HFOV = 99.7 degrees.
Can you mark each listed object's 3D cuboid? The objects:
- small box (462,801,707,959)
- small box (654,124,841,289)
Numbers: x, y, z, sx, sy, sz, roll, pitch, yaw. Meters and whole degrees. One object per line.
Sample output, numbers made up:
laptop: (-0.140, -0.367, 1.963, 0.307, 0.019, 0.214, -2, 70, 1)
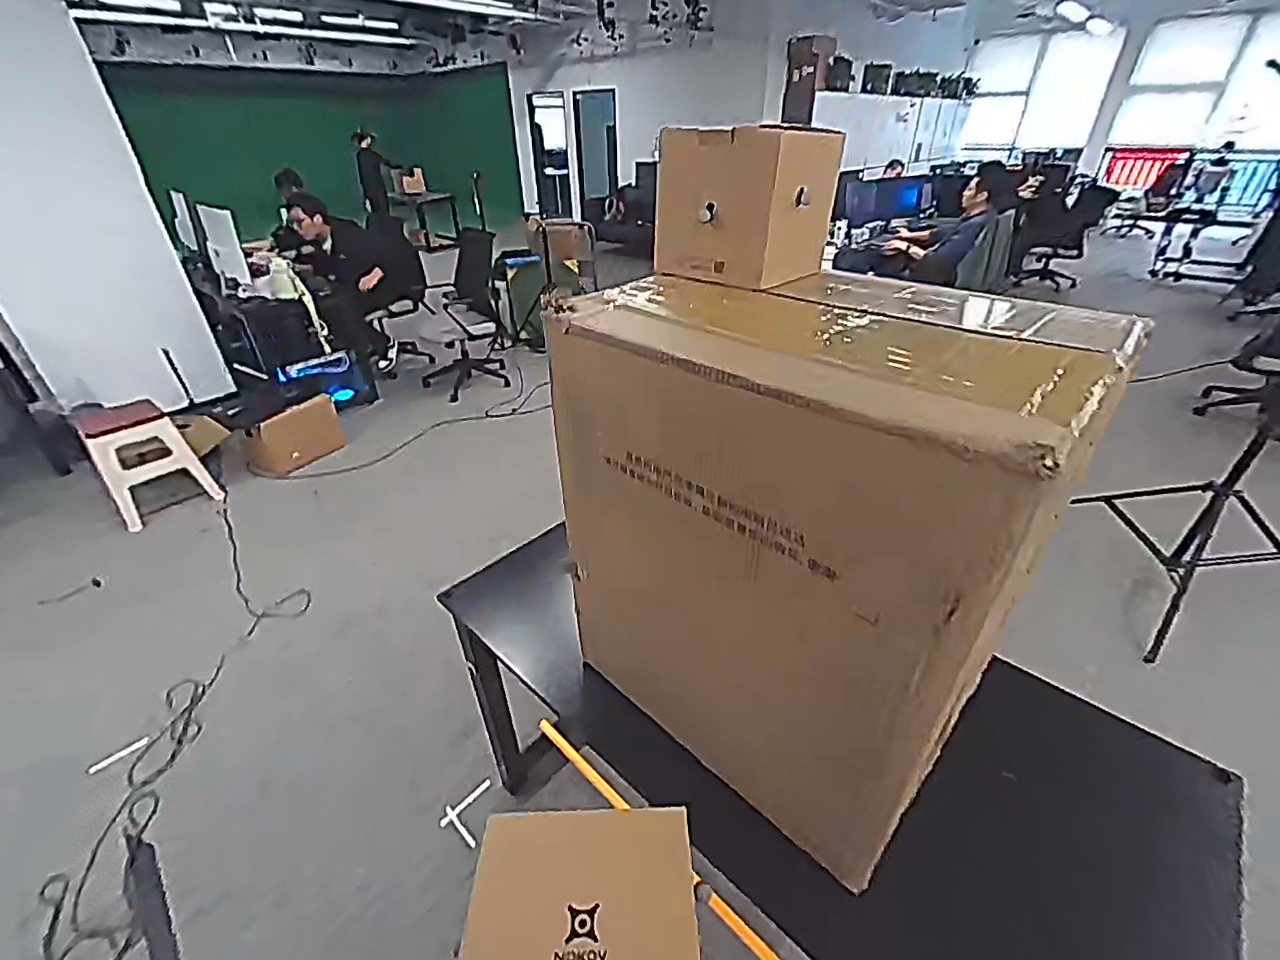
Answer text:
small box: (-0.037, 0.380, 0.412, 0.168, 0.176, 0.179, -2, 31, -1)
small box: (0.134, -0.353, 0.695, 0.168, 0.176, 0.179, 24, 39, 32)
